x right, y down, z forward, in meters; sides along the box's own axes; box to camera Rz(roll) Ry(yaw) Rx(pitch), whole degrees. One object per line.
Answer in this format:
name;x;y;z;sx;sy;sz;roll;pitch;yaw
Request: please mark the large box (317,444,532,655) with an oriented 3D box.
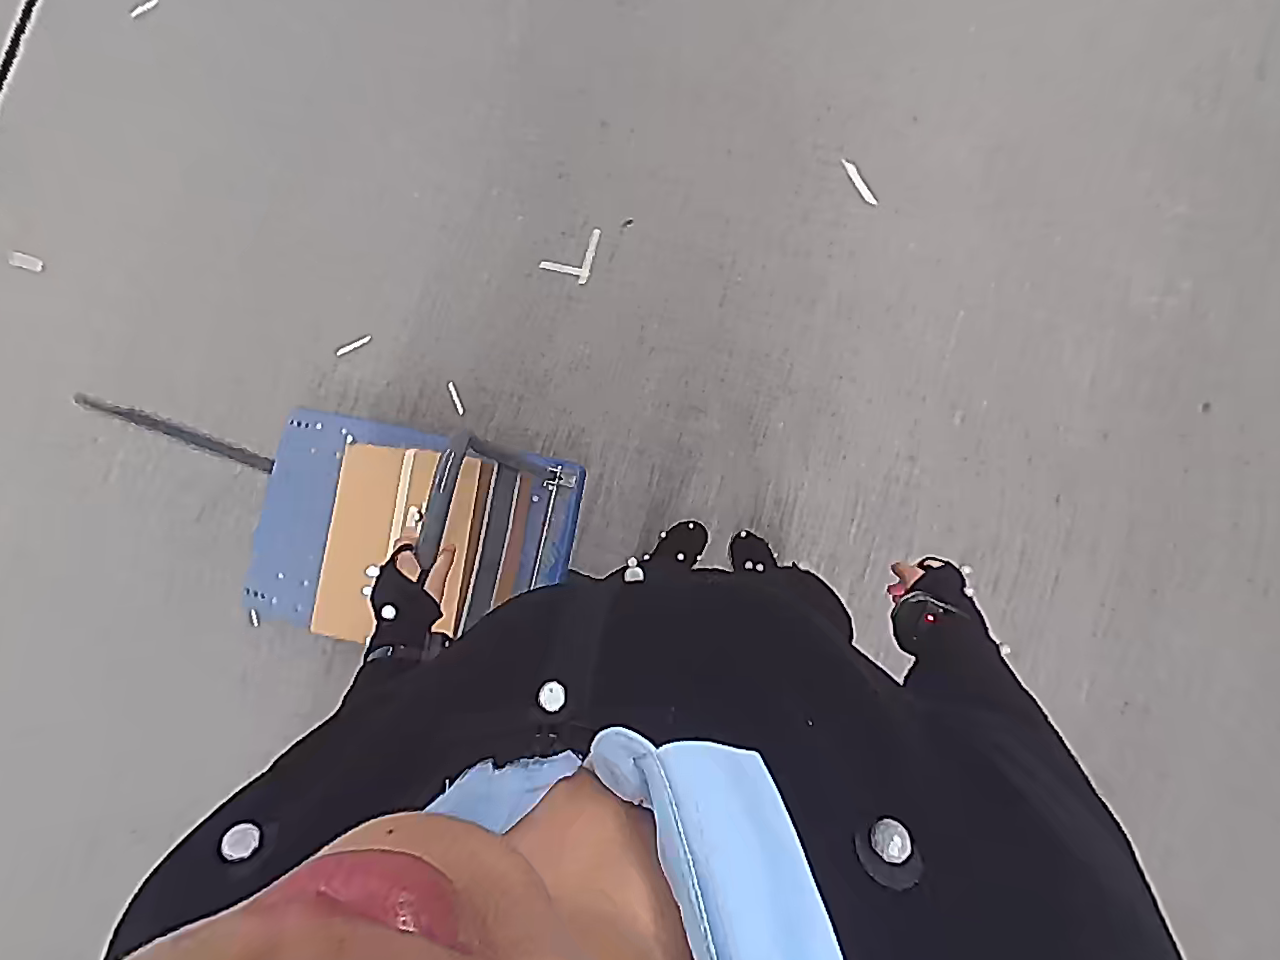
large box;-0.472;0.156;1.257;0.320;0.320;0.408;8;84;8
